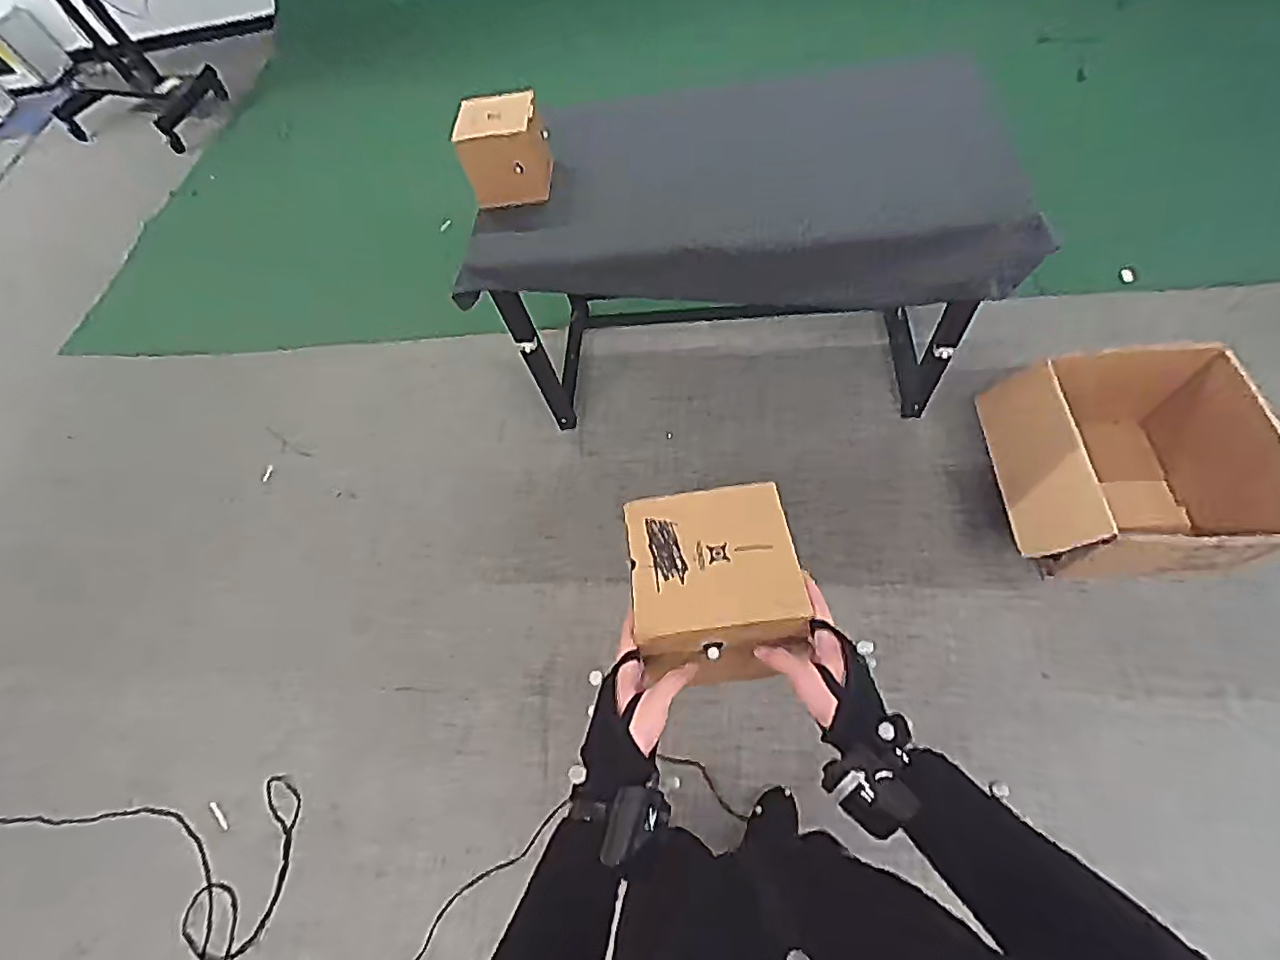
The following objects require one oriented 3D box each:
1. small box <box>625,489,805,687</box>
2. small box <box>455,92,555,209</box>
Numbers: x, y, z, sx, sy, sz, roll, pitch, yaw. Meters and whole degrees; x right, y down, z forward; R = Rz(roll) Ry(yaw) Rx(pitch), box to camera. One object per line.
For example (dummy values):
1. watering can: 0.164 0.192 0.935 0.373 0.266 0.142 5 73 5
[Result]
1. small box: 0.082 0.131 0.627 0.179 0.176 0.168 -6 52 6
2. small box: -0.311 -0.779 1.287 0.179 0.176 0.168 -4 60 8
